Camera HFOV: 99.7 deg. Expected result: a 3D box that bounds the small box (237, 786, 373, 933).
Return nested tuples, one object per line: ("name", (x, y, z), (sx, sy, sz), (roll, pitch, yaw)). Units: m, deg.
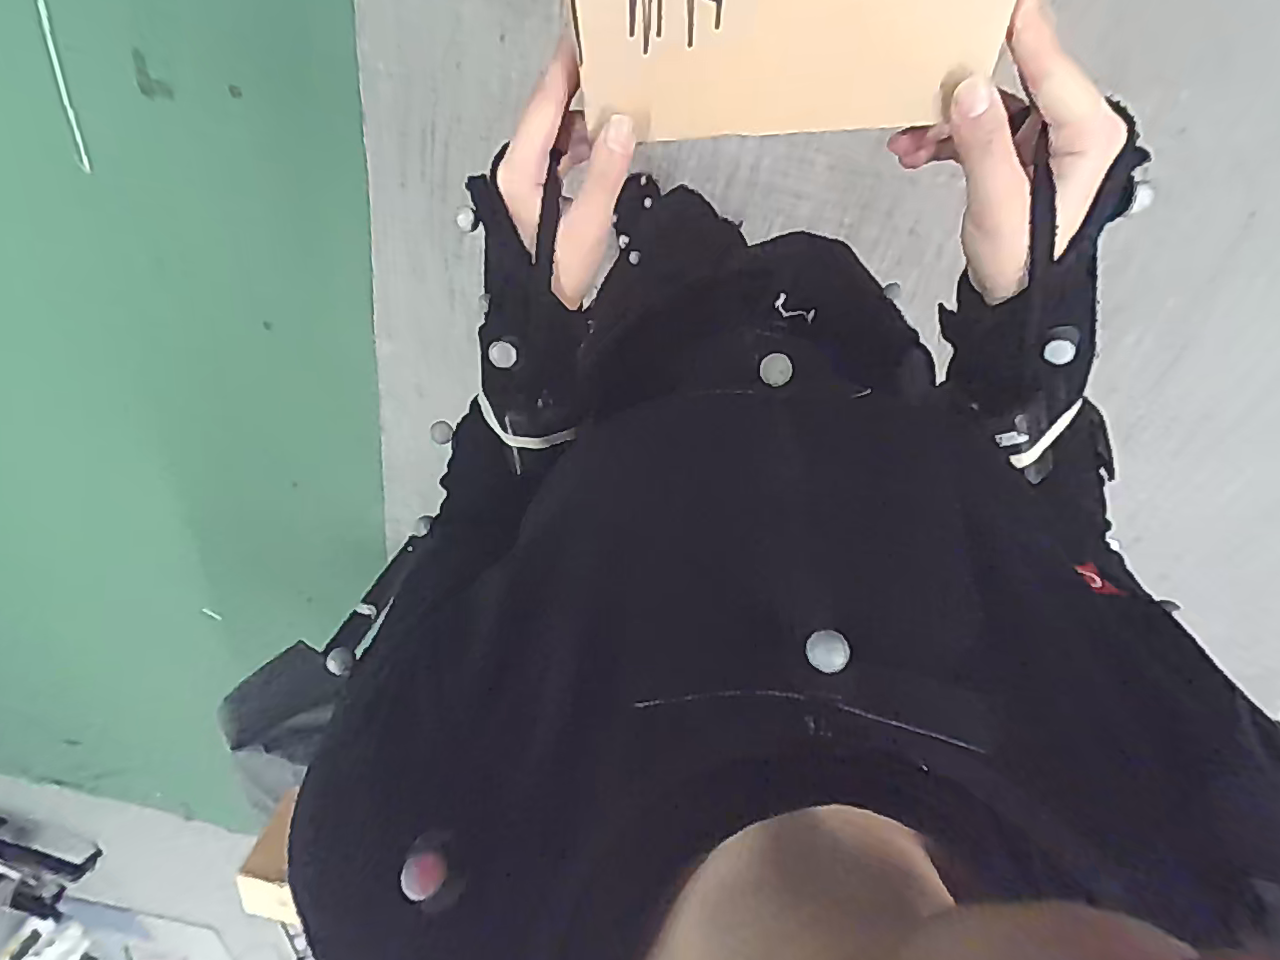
("small box", (-0.653, 0.752, 1.076), (0.168, 0.176, 0.179), (16, 121, -3))
